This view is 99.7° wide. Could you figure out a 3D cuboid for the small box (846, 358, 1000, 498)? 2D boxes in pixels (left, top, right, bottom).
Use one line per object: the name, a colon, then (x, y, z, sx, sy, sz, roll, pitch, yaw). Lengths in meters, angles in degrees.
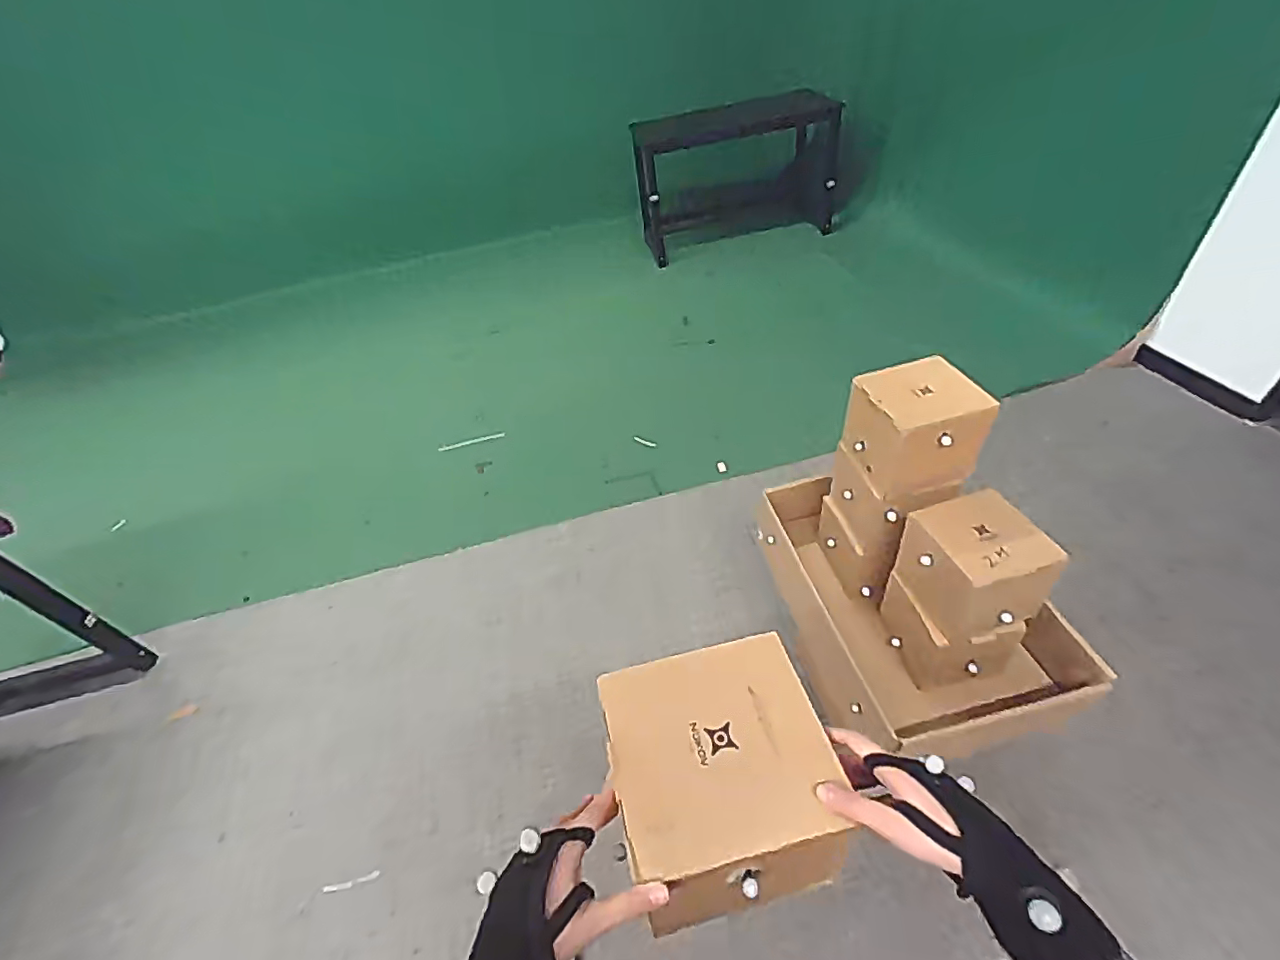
small box: (0.503, -0.093, 0.993, 0.179, 0.176, 0.168, -15, 44, -4)
